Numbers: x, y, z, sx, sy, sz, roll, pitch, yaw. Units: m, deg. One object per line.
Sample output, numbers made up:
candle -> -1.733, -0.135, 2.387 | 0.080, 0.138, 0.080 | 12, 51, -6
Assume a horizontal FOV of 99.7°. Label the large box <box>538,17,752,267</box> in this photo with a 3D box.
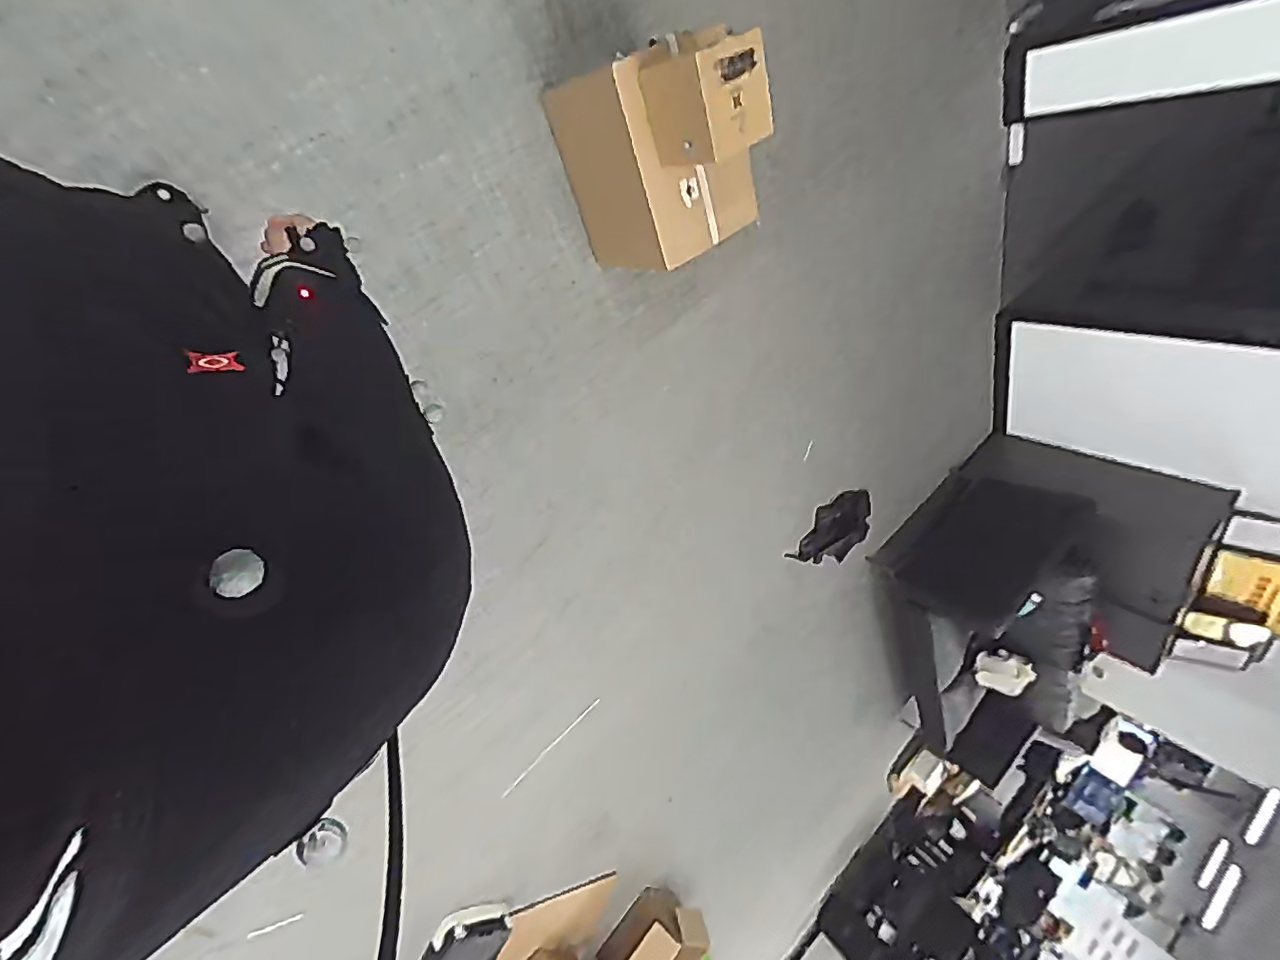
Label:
large box -> 0.020, -0.776, 1.288 | 0.320, 0.320, 0.408 | -36, 130, -19
